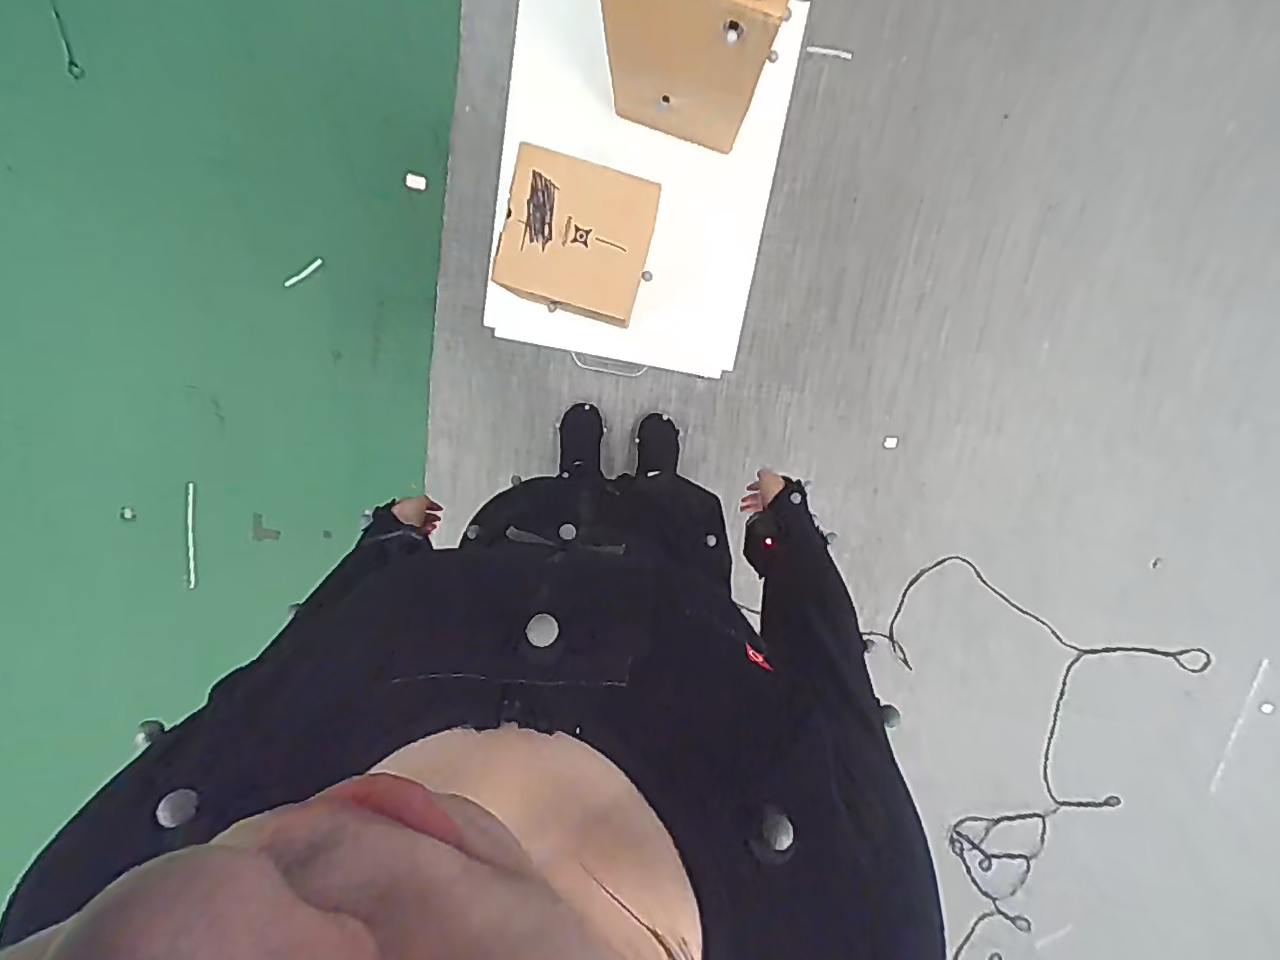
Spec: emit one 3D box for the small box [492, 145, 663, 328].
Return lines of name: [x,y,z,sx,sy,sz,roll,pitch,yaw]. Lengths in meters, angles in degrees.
small box: [-0.079,-0.313,0.735,0.179,0.176,0.168,16,101,-4]

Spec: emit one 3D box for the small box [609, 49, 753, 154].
small box: [0.071,-0.549,0.685,0.179,0.176,0.168,17,102,-3]

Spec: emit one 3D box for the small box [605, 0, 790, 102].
small box: [0.066,-0.512,0.527,0.179,0.176,0.168,16,102,-3]
